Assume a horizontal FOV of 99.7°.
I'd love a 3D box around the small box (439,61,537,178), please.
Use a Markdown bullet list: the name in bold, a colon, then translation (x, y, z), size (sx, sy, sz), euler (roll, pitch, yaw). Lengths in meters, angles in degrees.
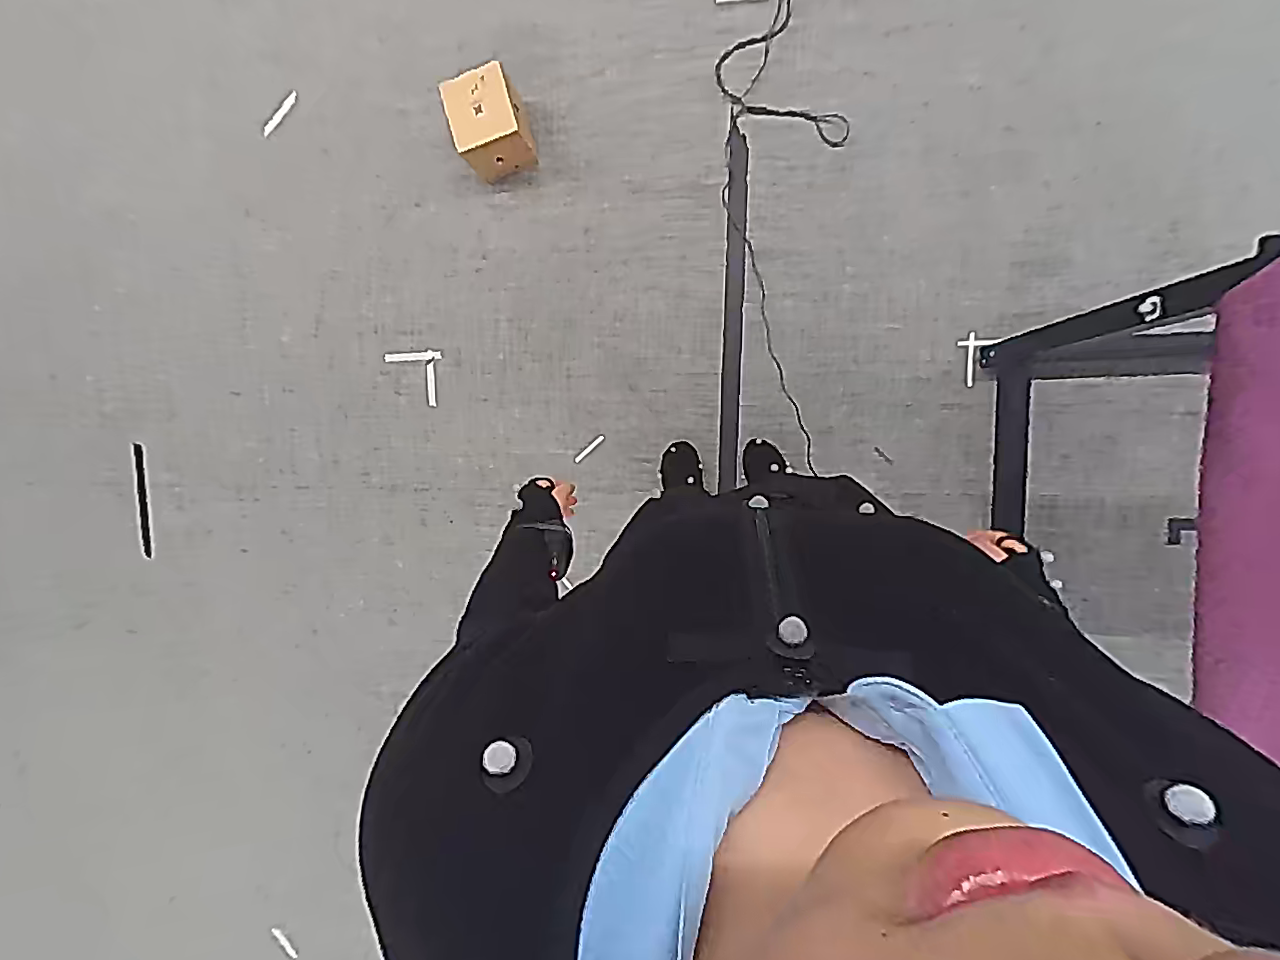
- **small box**: translation (-0.384, -0.915, 1.399), size (0.168, 0.176, 0.179), euler (-15, 92, 8)
